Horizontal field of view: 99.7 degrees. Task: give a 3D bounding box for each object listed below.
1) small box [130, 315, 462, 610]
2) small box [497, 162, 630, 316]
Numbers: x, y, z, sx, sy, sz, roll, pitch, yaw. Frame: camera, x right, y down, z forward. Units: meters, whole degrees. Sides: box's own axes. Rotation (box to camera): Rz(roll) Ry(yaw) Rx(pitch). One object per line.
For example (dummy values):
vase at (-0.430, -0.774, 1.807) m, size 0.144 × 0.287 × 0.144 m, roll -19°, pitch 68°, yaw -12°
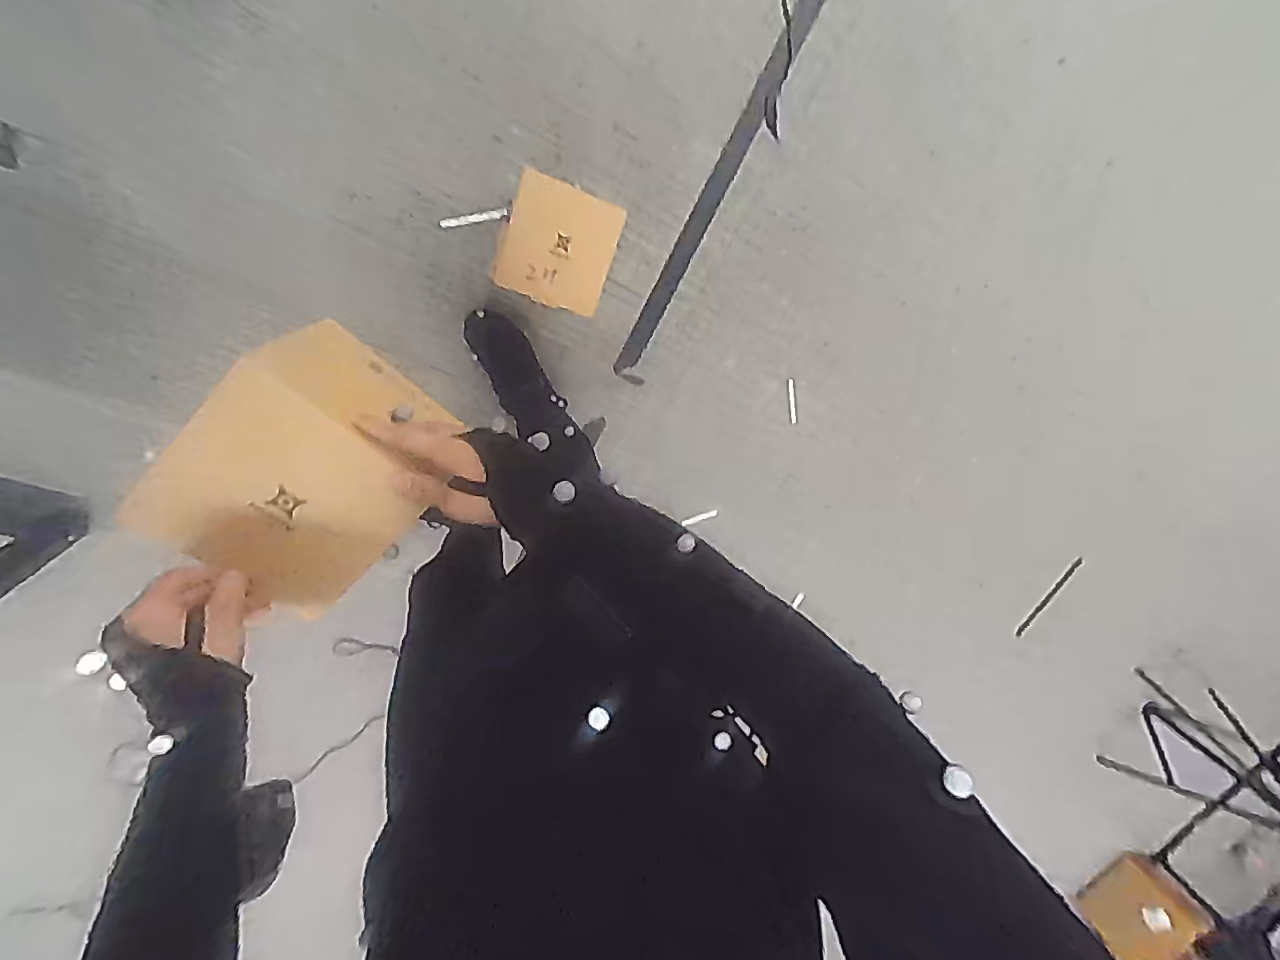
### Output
small box at (-0.284, -0.025, 0.496) m, size 0.179 × 0.176 × 0.168 m, roll -41°, pitch 115°, yaw 12°
small box at (-0.136, -0.398, 0.901) m, size 0.168 × 0.176 × 0.179 m, roll 15°, pitch 112°, yaw -20°
